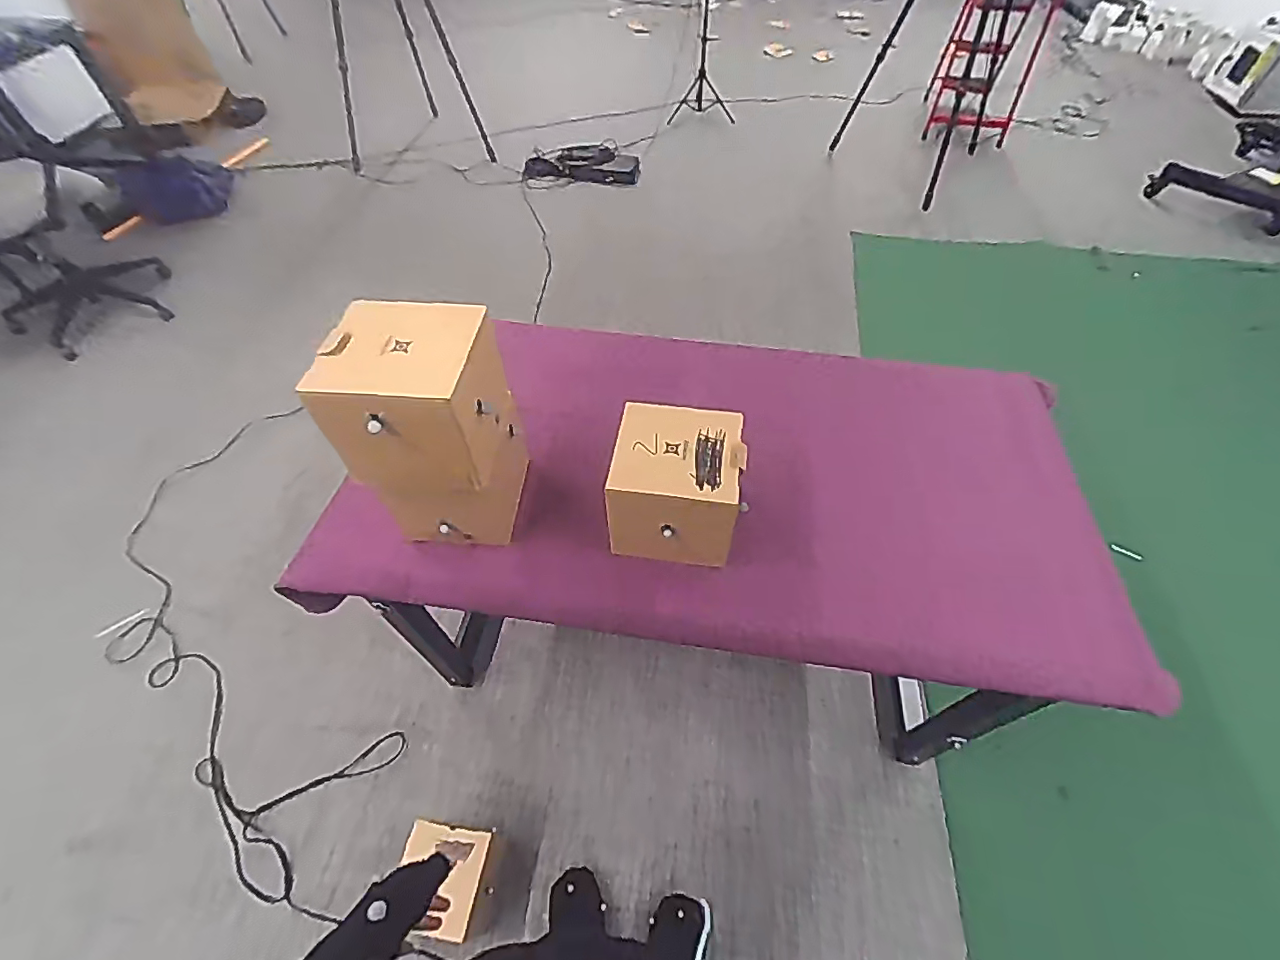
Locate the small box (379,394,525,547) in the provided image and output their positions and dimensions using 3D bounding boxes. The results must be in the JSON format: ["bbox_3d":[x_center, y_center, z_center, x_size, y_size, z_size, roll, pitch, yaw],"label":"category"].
[{"bbox_3d":[-0.280,-0.019,0.834,0.168,0.176,0.179,4,53,2],"label":"small box"}]

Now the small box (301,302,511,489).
[{"bbox_3d":[-0.276,-0.103,0.693,0.179,0.176,0.168,4,53,2],"label":"small box"}]
